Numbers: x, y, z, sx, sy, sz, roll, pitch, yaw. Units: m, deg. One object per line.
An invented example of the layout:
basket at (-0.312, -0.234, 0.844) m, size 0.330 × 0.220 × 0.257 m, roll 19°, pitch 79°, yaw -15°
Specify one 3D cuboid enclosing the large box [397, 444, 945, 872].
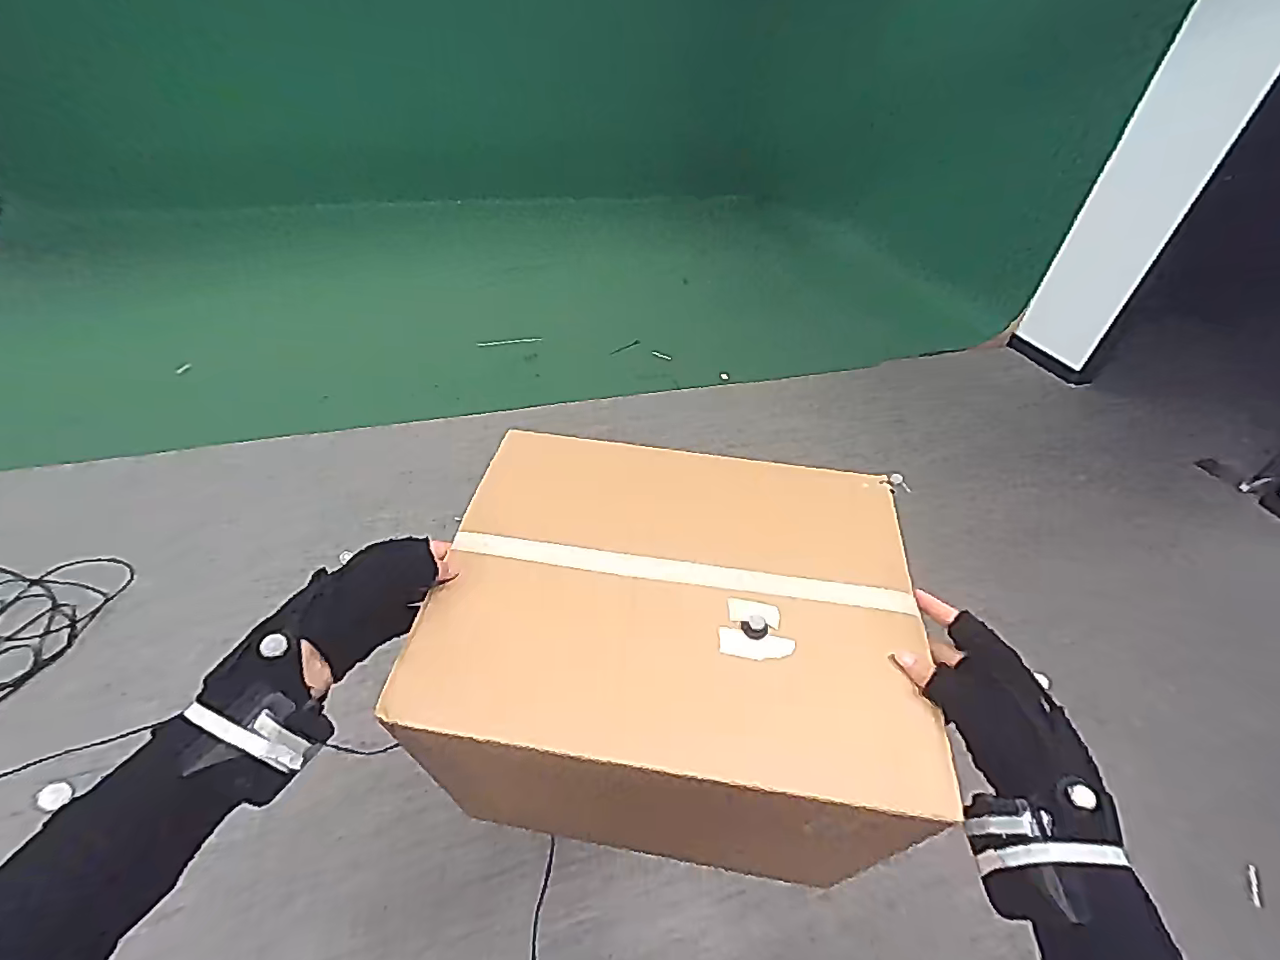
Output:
large box at (0.029, 0.191, 0.592) m, size 0.408 × 0.320 × 0.320 m, roll 7°, pitch 47°, yaw 5°
